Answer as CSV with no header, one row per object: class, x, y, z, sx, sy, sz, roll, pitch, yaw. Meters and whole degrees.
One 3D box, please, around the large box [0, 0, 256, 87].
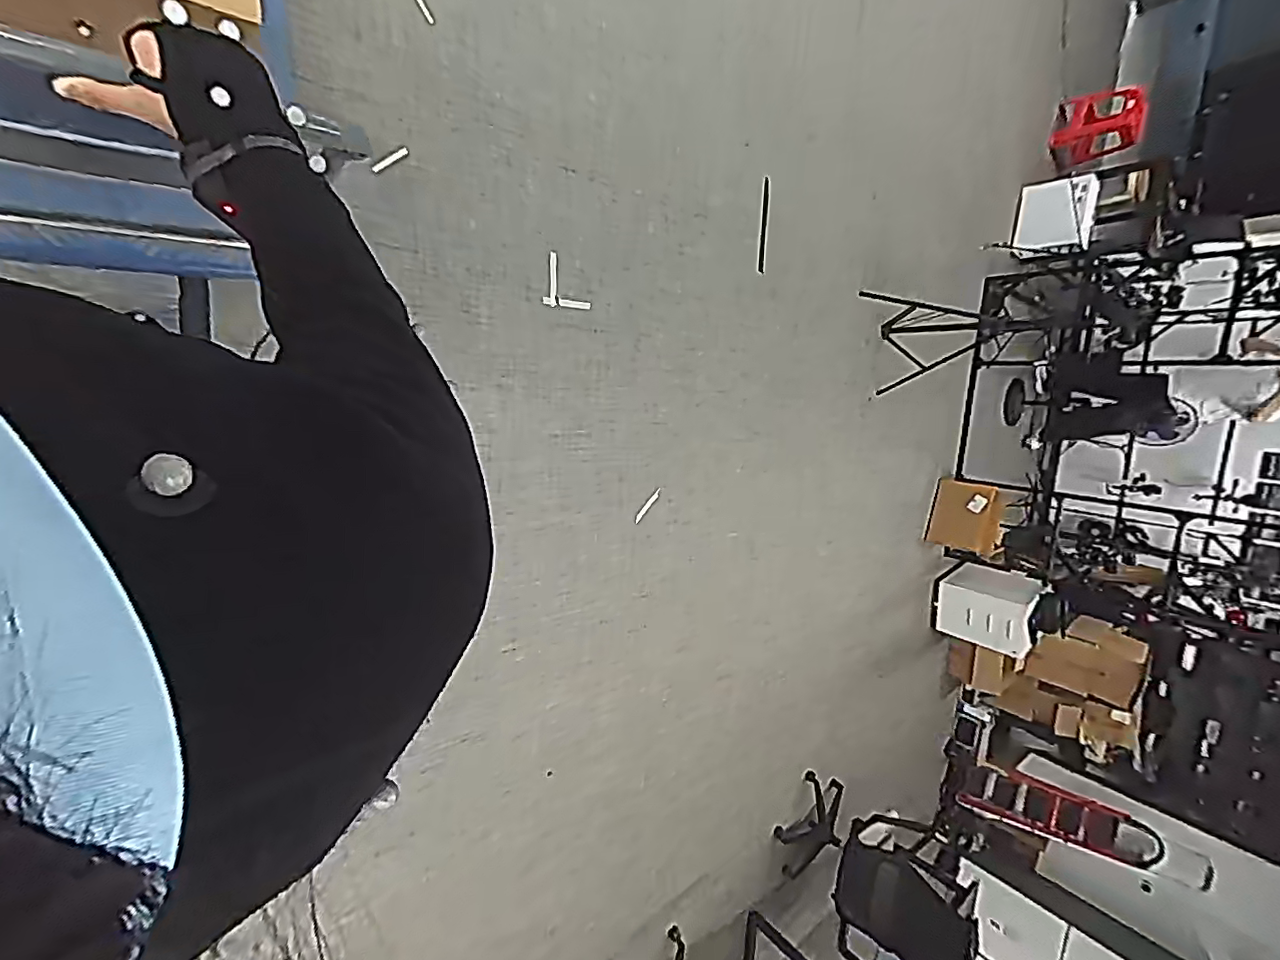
large box,-0.799,-0.820,0.741,0.408,0.320,0.320,-8,104,-38
